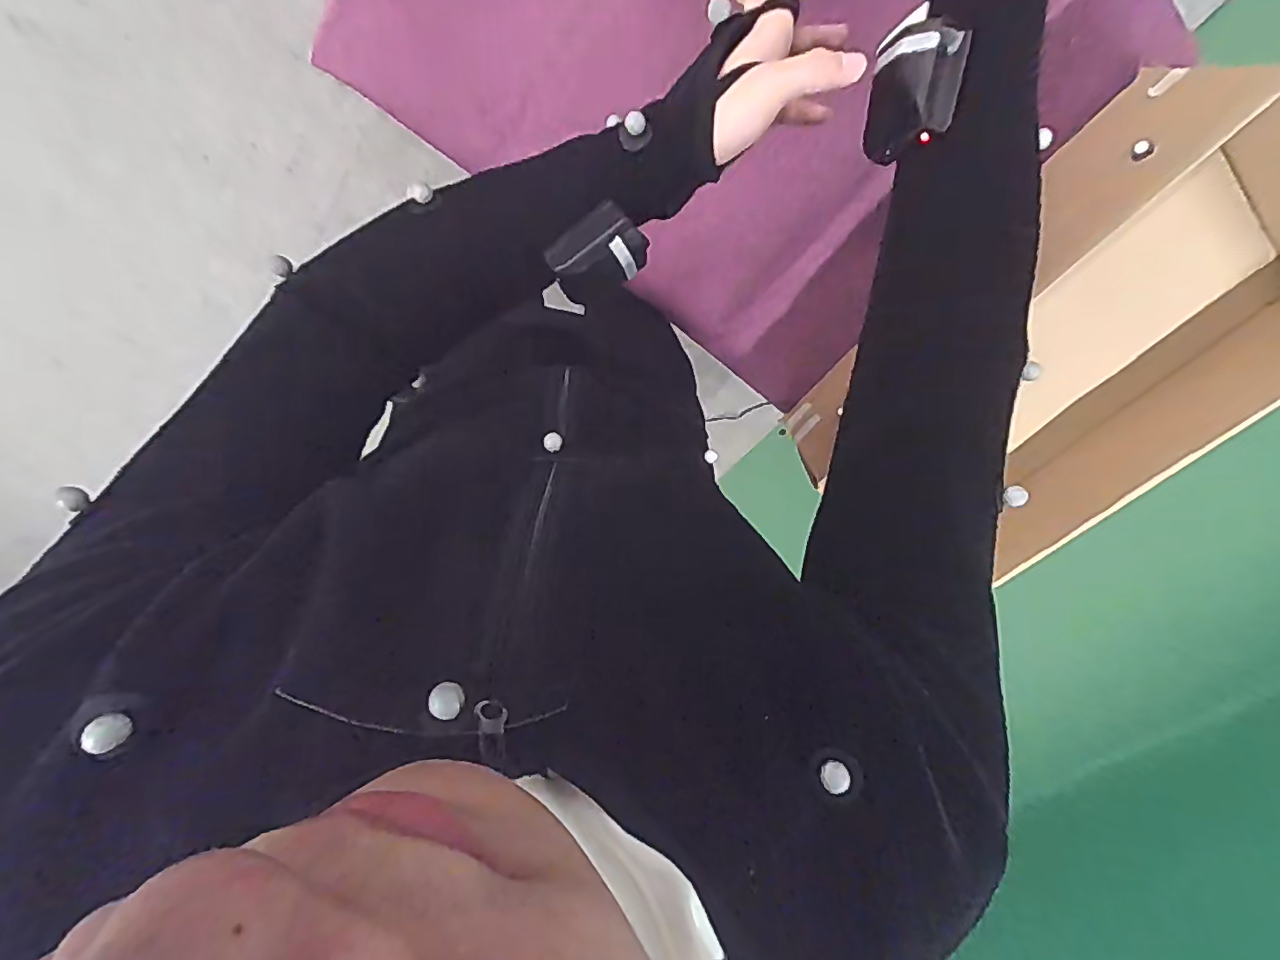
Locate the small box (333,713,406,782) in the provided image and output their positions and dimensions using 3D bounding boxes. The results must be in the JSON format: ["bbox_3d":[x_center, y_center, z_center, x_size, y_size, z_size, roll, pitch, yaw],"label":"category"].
[{"bbox_3d":[-0.959,0.953,1.933,0.179,0.176,0.168,3,124,-6],"label":"small box"}]

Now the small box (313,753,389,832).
[{"bbox_3d":[-0.949,1.037,1.794,0.168,0.176,0.179,4,123,-8],"label":"small box"}]
